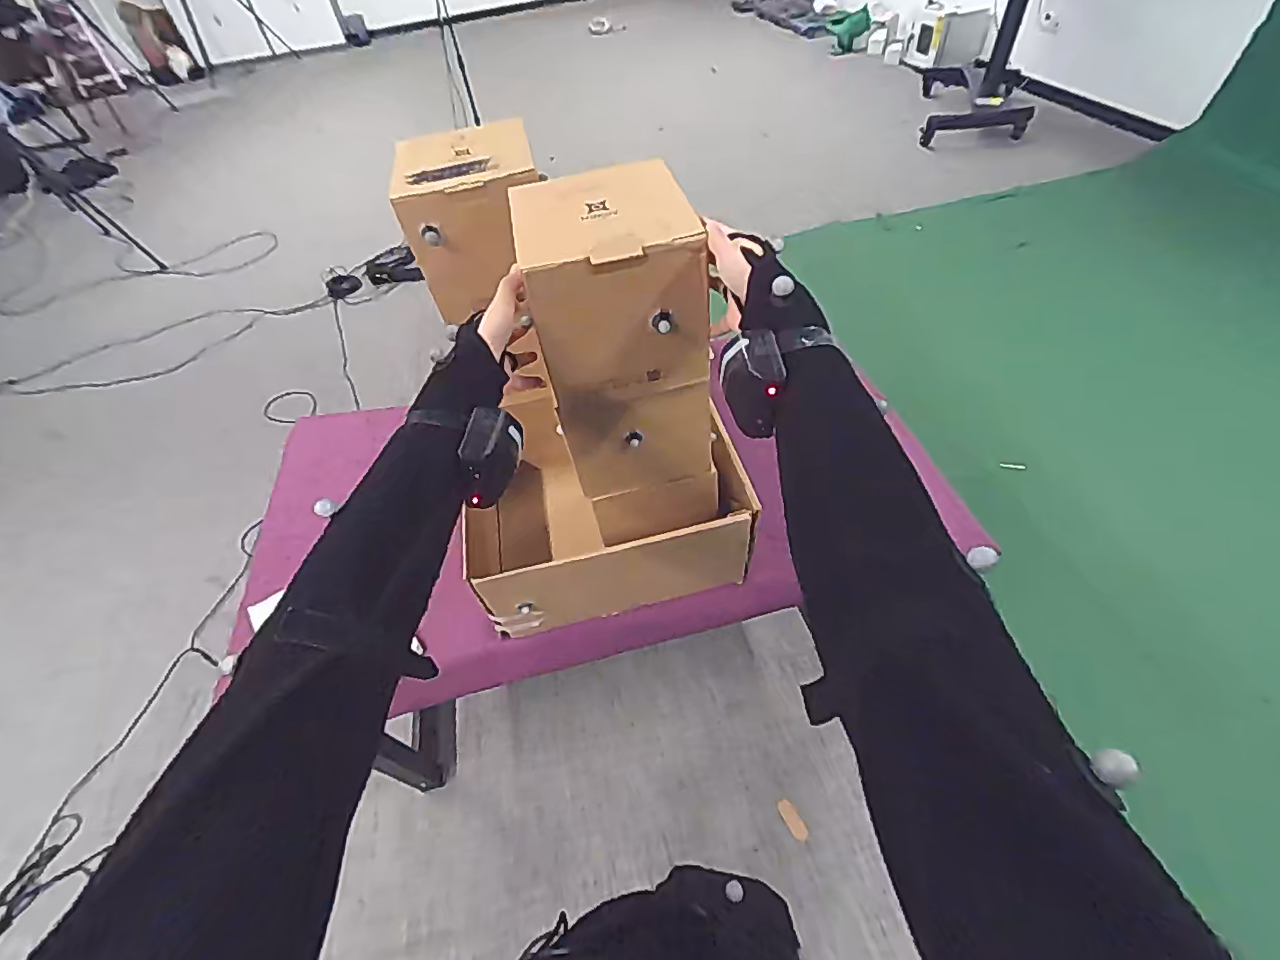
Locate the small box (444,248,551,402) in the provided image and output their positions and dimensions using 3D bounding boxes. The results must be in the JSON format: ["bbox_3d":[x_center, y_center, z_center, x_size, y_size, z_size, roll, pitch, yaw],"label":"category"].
[{"bbox_3d":[-0.194,-0.239,0.848,0.168,0.176,0.179,-12,51,-3],"label":"small box"}]

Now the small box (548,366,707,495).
[{"bbox_3d":[-0.015,-0.105,0.703,0.179,0.176,0.168,-13,49,-1],"label":"small box"}]

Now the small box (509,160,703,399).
[{"bbox_3d":[-0.032,-0.203,0.572,0.168,0.176,0.179,-13,49,-4],"label":"small box"}]
